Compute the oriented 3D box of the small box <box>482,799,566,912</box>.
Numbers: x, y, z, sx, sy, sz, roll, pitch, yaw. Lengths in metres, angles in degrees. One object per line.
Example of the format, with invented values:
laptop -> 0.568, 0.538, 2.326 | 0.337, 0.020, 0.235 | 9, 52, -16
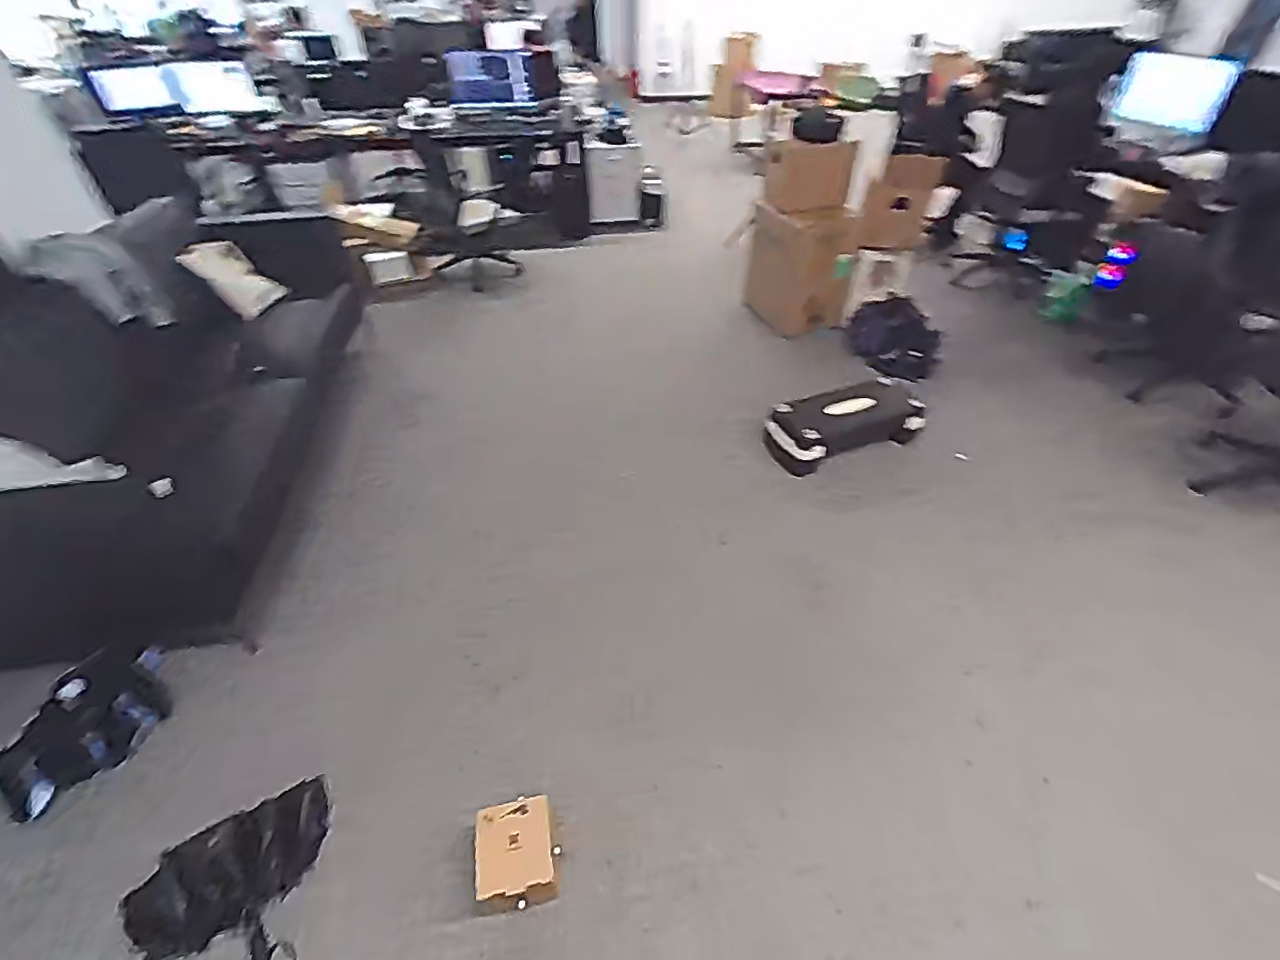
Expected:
small box -> -0.267, 0.878, 1.259 | 0.168, 0.176, 0.179 | -7, 43, -8
